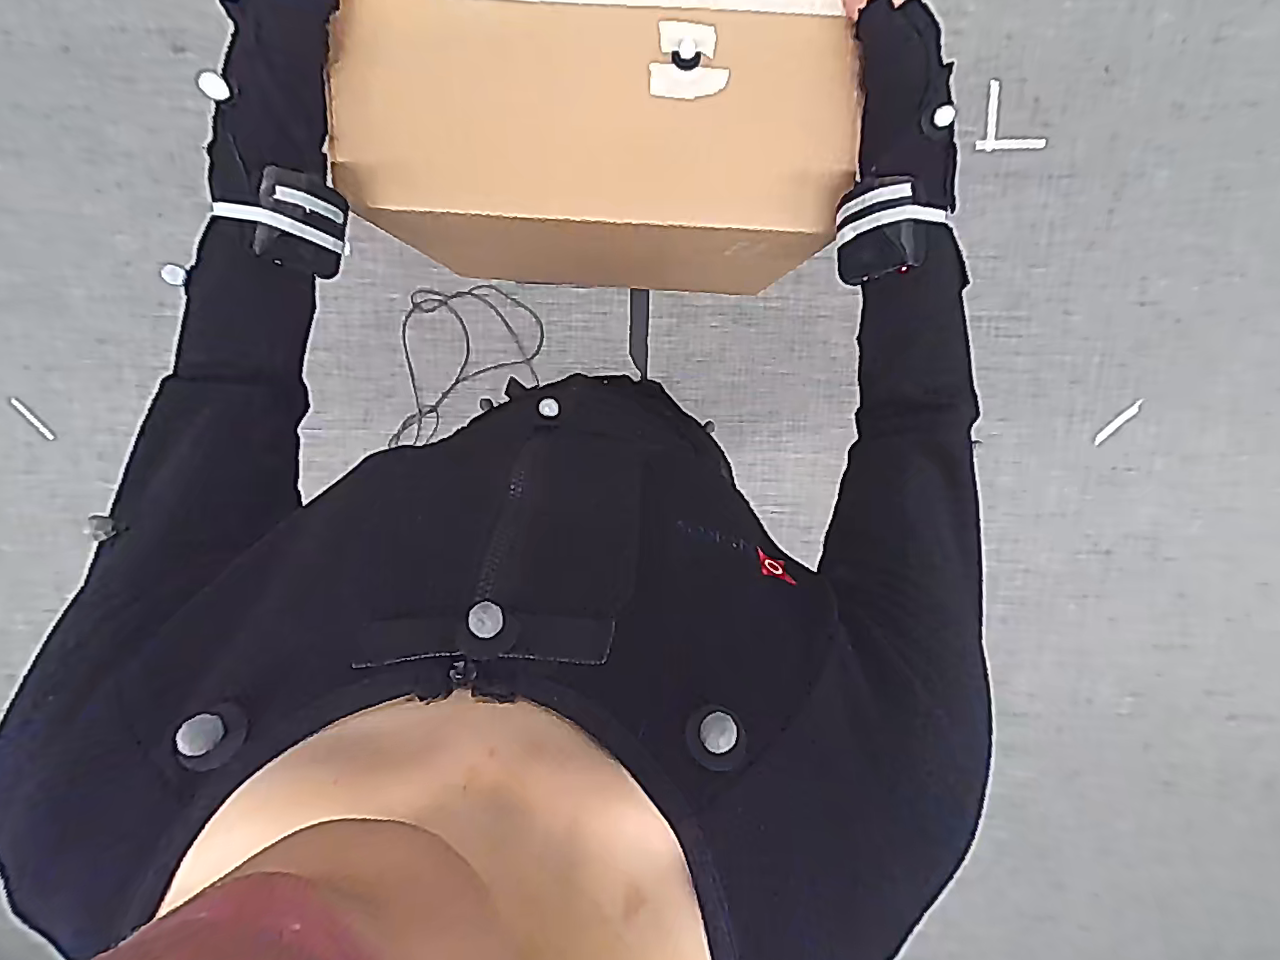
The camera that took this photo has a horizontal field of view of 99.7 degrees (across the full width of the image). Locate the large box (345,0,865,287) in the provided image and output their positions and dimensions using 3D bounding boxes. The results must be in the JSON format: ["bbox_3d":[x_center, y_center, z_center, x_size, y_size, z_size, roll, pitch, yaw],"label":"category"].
[{"bbox_3d":[-0.029,-0.391,0.559,0.408,0.320,0.320,2,101,-2],"label":"large box"}]
